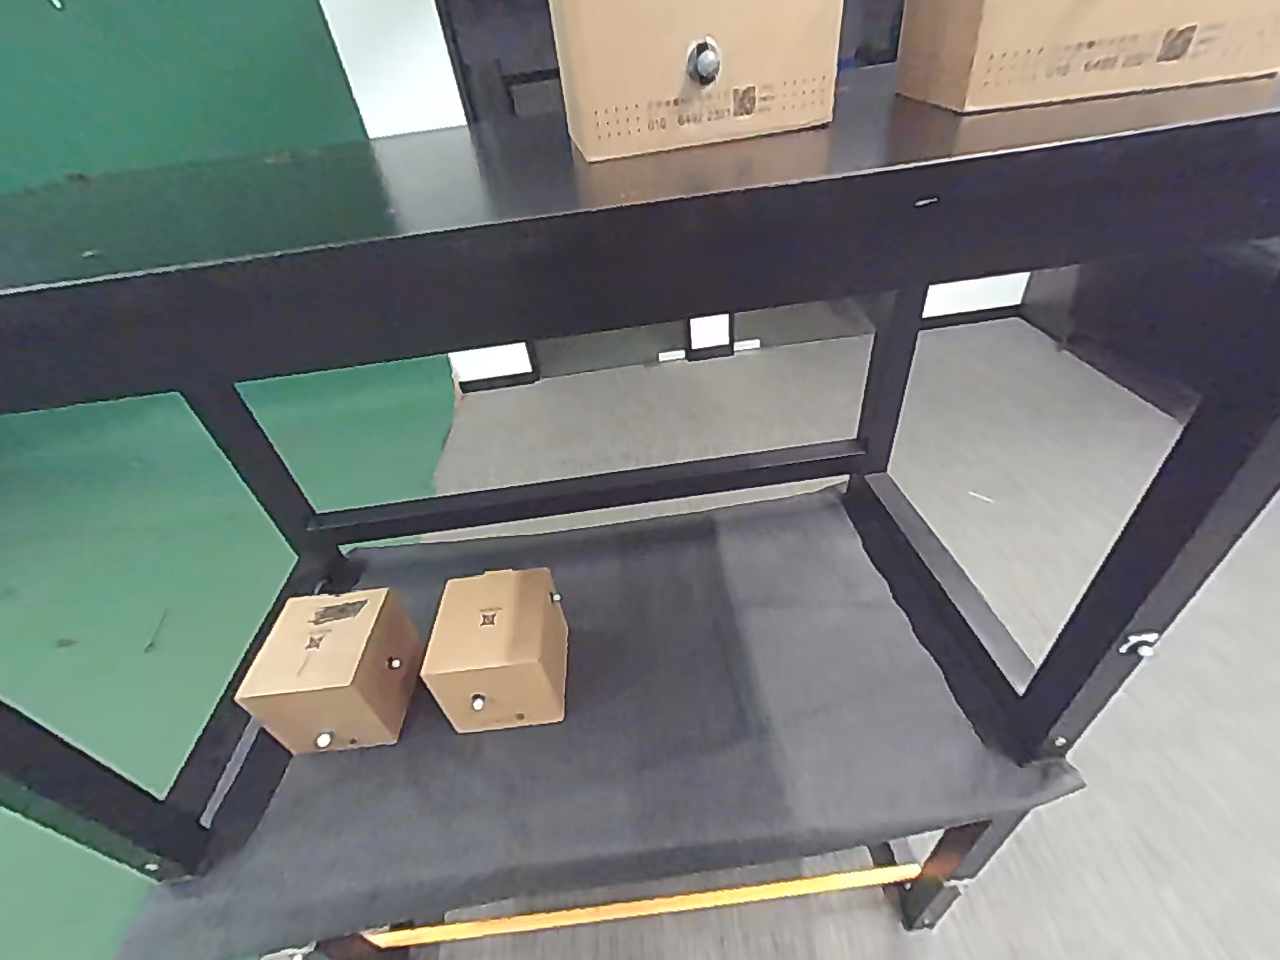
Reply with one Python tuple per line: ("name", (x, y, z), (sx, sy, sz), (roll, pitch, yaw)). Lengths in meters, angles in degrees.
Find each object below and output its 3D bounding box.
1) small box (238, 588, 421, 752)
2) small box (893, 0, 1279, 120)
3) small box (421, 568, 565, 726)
("small box", (-0.466, 0.297, 0.850), (0.168, 0.176, 0.179), (-7, 39, 1))
("small box", (0.273, -0.333, 0.333), (0.168, 0.176, 0.179), (-1, 39, 9))
("small box", (-0.215, 0.266, 0.849), (0.168, 0.176, 0.179), (-7, 38, 1))
